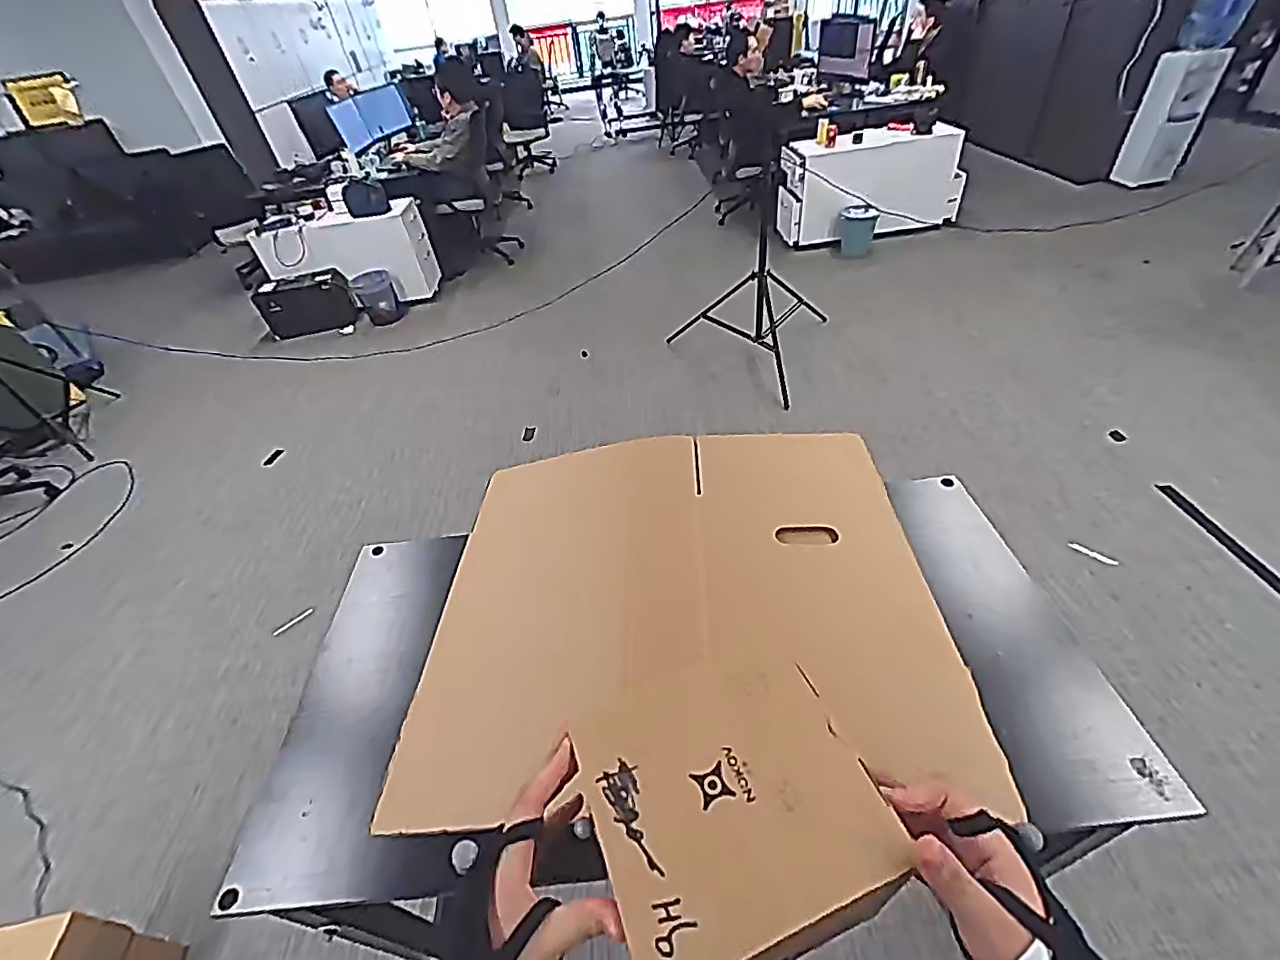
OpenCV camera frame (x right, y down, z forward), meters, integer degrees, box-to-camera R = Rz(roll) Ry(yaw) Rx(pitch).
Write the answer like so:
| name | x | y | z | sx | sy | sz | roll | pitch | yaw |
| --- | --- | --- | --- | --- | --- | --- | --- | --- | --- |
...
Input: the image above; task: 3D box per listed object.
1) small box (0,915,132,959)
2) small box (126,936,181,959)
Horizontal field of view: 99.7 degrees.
| name | x | y | z | sx | sy | sz | roll | pitch | yaw |
| --- | --- | --- | --- | --- | --- | --- | --- | --- | --- |
| small box | -1.142 | 0.971 | 1.030 | 0.168 | 0.176 | 0.179 | -11 | 41 | -4 |
| small box | -1.122 | 1.095 | 1.134 | 0.168 | 0.176 | 0.179 | -10 | 42 | -1 |
